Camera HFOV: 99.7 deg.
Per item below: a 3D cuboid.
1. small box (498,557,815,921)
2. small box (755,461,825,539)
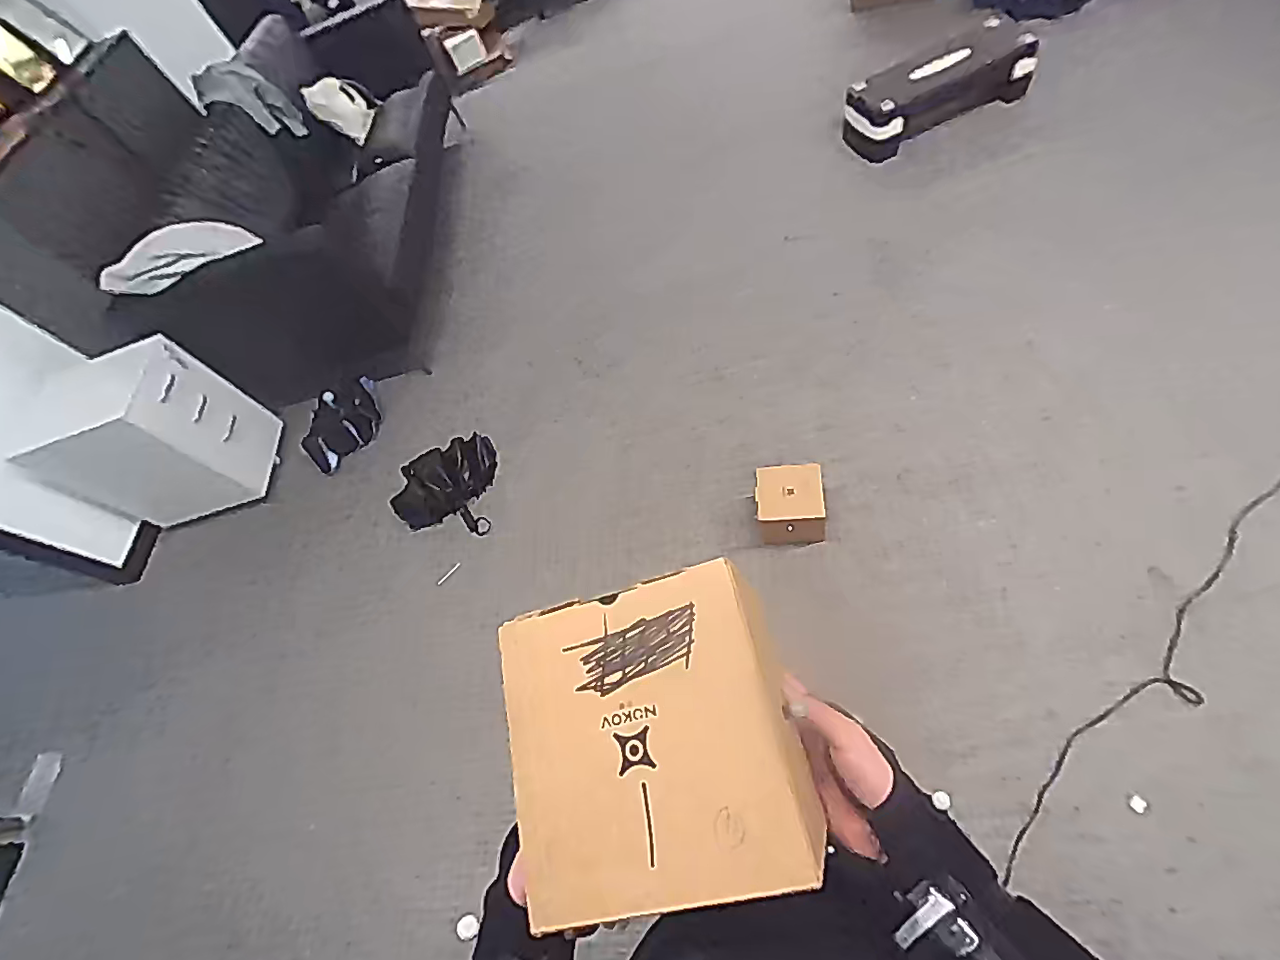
[{"bbox_3d":[0.018,0.176,0.392,0.168,0.176,0.179,-19,65,13],"label":"small box"},{"bbox_3d":[0.425,0.062,1.529,0.179,0.176,0.168,-4,61,15],"label":"small box"}]
